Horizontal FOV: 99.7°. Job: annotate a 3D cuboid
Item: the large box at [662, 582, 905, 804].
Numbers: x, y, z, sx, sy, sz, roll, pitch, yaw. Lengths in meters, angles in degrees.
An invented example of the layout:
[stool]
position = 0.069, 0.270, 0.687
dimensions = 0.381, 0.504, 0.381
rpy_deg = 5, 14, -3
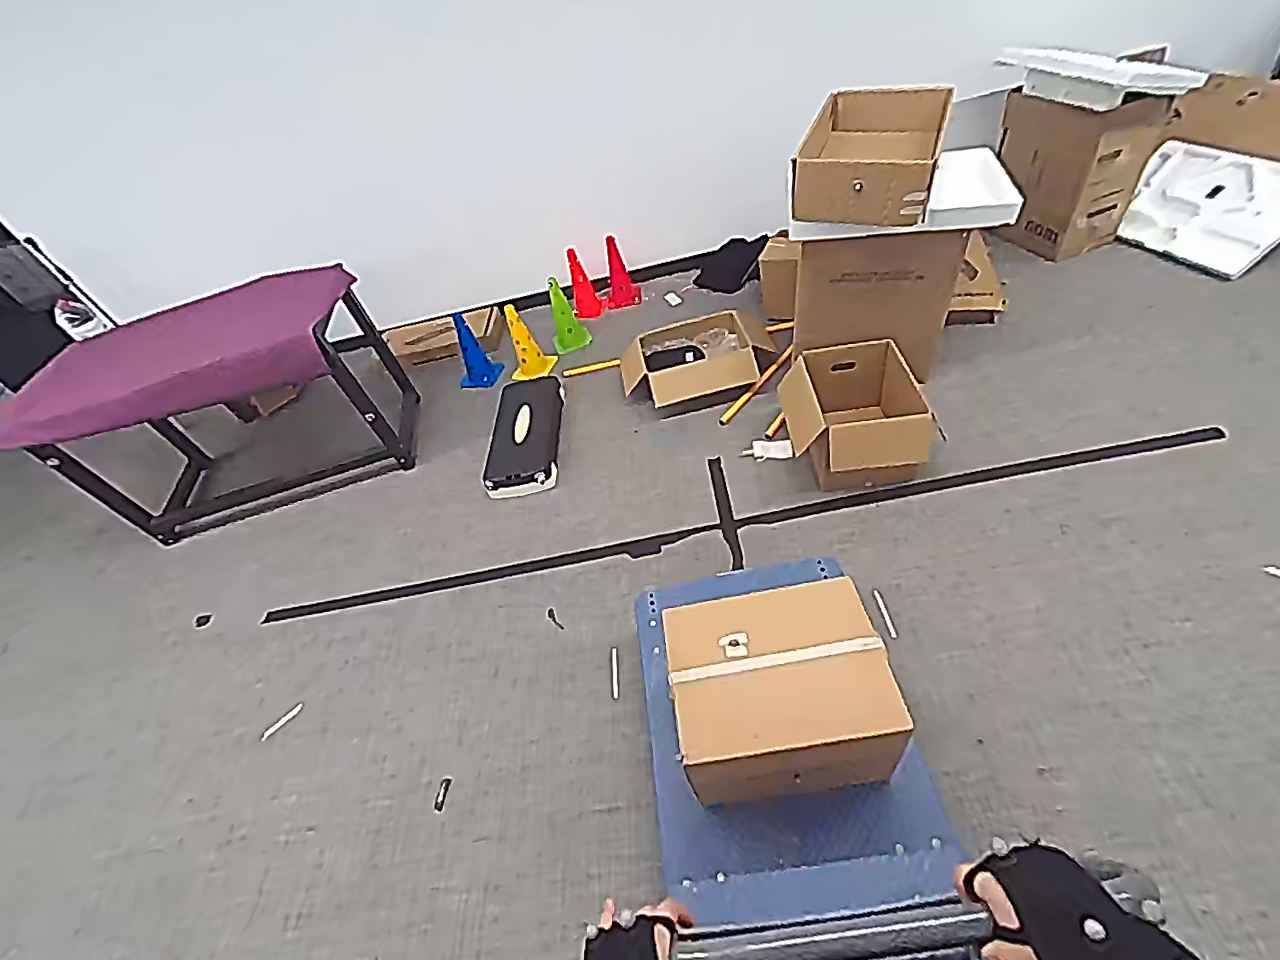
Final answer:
[large box]
position = 0.288, 0.465, 1.164
dimensions = 0.408, 0.320, 0.320
rpy_deg = -12, 45, 5
